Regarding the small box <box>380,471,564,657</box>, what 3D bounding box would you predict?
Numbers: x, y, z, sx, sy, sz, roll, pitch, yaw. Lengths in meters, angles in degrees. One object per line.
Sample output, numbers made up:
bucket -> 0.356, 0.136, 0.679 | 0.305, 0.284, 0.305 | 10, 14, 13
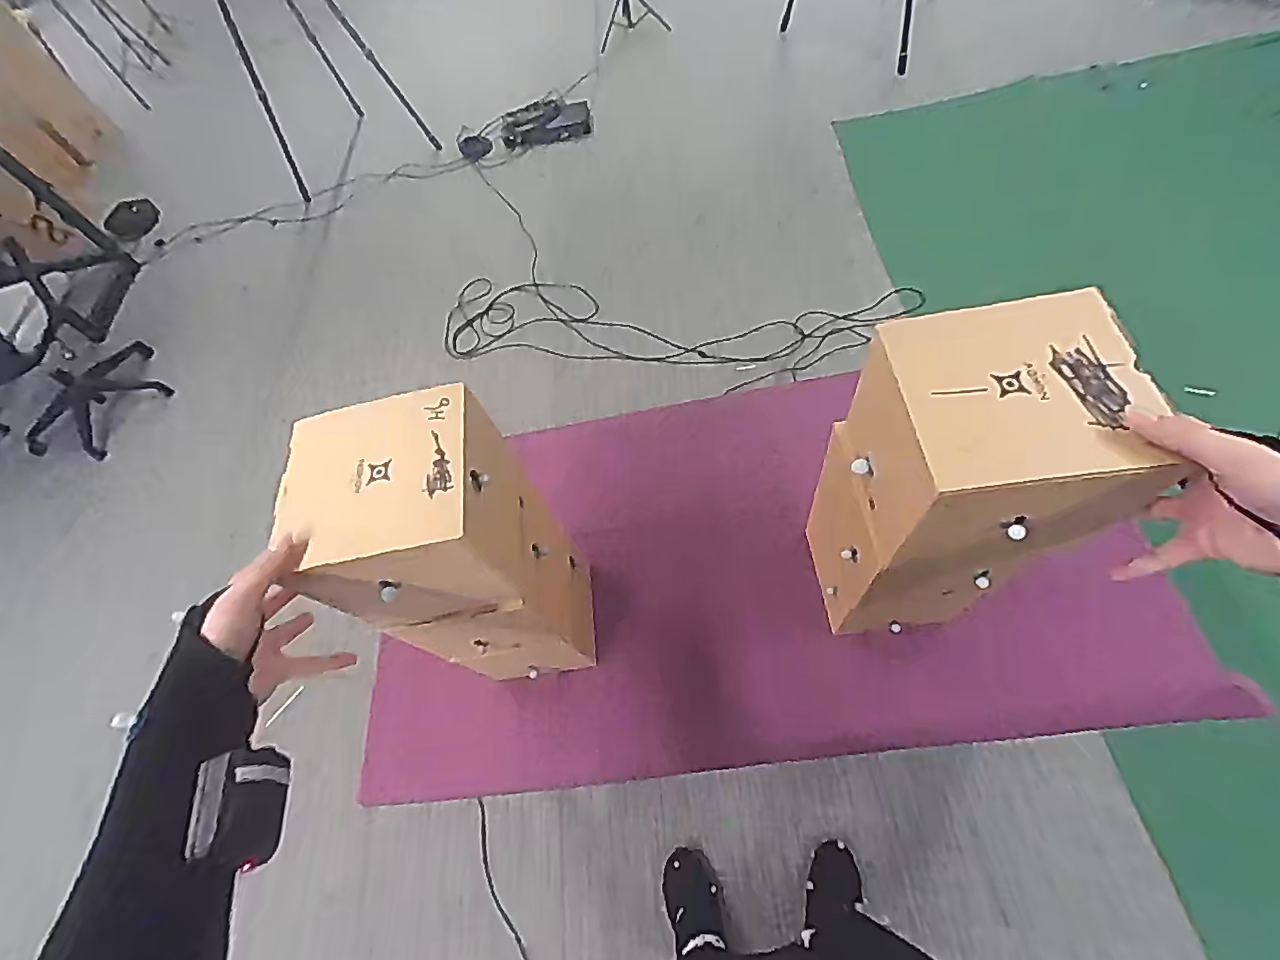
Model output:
small box -> -0.201, 0.113, 0.693 | 0.168, 0.176, 0.179 | -11, 60, 5

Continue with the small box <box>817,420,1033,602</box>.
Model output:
small box -> 0.314, 0.034, 0.628 | 0.168, 0.176, 0.179 | -10, 60, 6

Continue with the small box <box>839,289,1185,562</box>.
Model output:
small box -> 0.294, -0.036, 0.482 | 0.179, 0.176, 0.168 | -8, 61, 7

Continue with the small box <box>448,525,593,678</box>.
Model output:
small box -> -0.174, 0.192, 0.832 | 0.168, 0.176, 0.179 | -10, 60, 6

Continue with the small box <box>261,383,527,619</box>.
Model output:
small box -> -0.229, 0.032, 0.552 | 0.179, 0.176, 0.168 | -12, 60, 5
